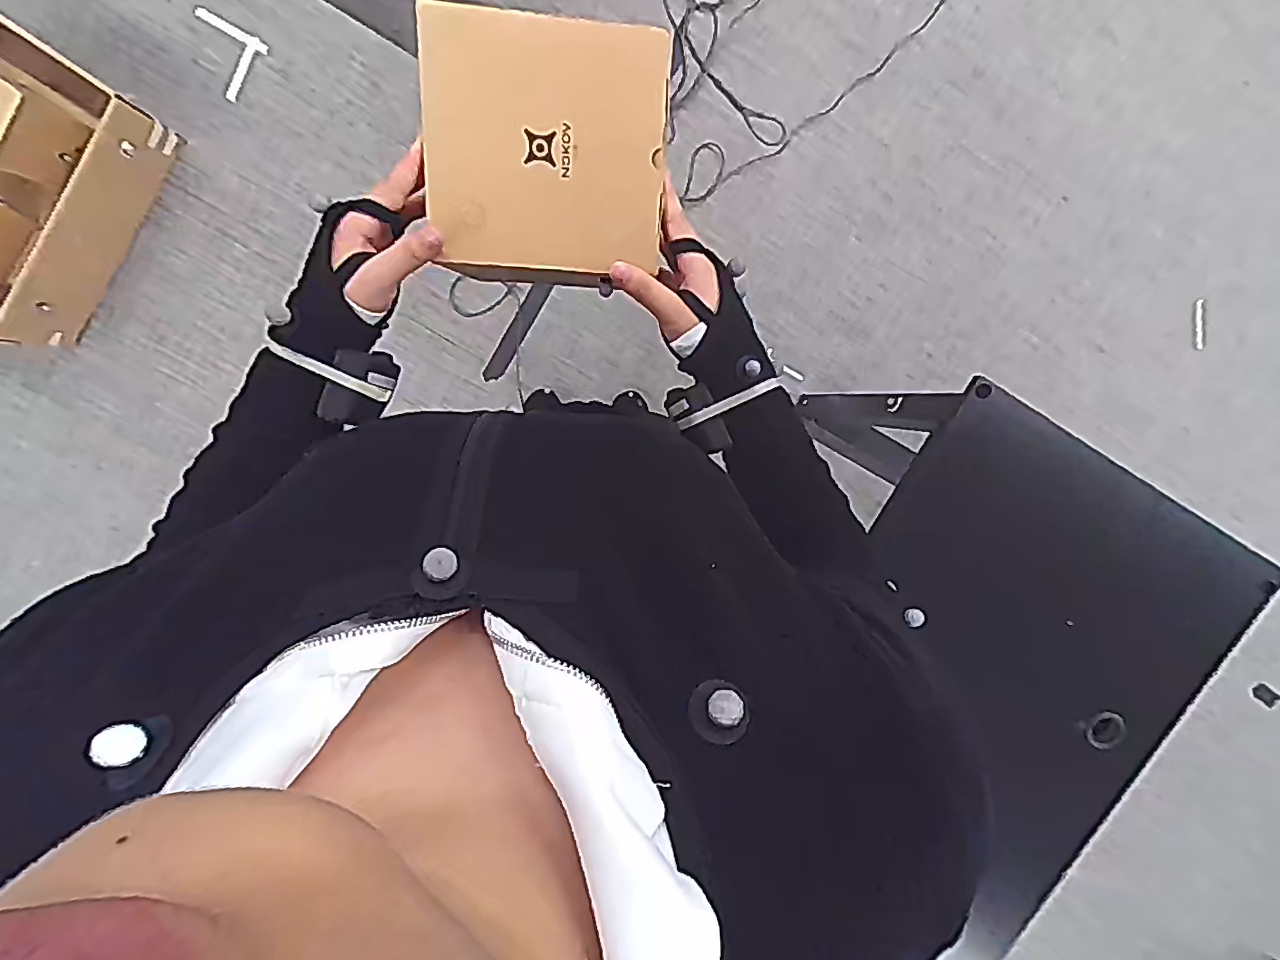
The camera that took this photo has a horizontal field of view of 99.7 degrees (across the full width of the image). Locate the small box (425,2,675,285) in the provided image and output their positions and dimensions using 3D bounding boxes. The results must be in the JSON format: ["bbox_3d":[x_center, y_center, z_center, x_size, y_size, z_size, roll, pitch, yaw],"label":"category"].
[{"bbox_3d":[-0.074,-0.267,0.475,0.179,0.176,0.168,2,106,-7],"label":"small box"}]

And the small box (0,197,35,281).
[{"bbox_3d":[-1.535,-0.573,1.201,0.168,0.176,0.179,34,94,-10],"label":"small box"}]
